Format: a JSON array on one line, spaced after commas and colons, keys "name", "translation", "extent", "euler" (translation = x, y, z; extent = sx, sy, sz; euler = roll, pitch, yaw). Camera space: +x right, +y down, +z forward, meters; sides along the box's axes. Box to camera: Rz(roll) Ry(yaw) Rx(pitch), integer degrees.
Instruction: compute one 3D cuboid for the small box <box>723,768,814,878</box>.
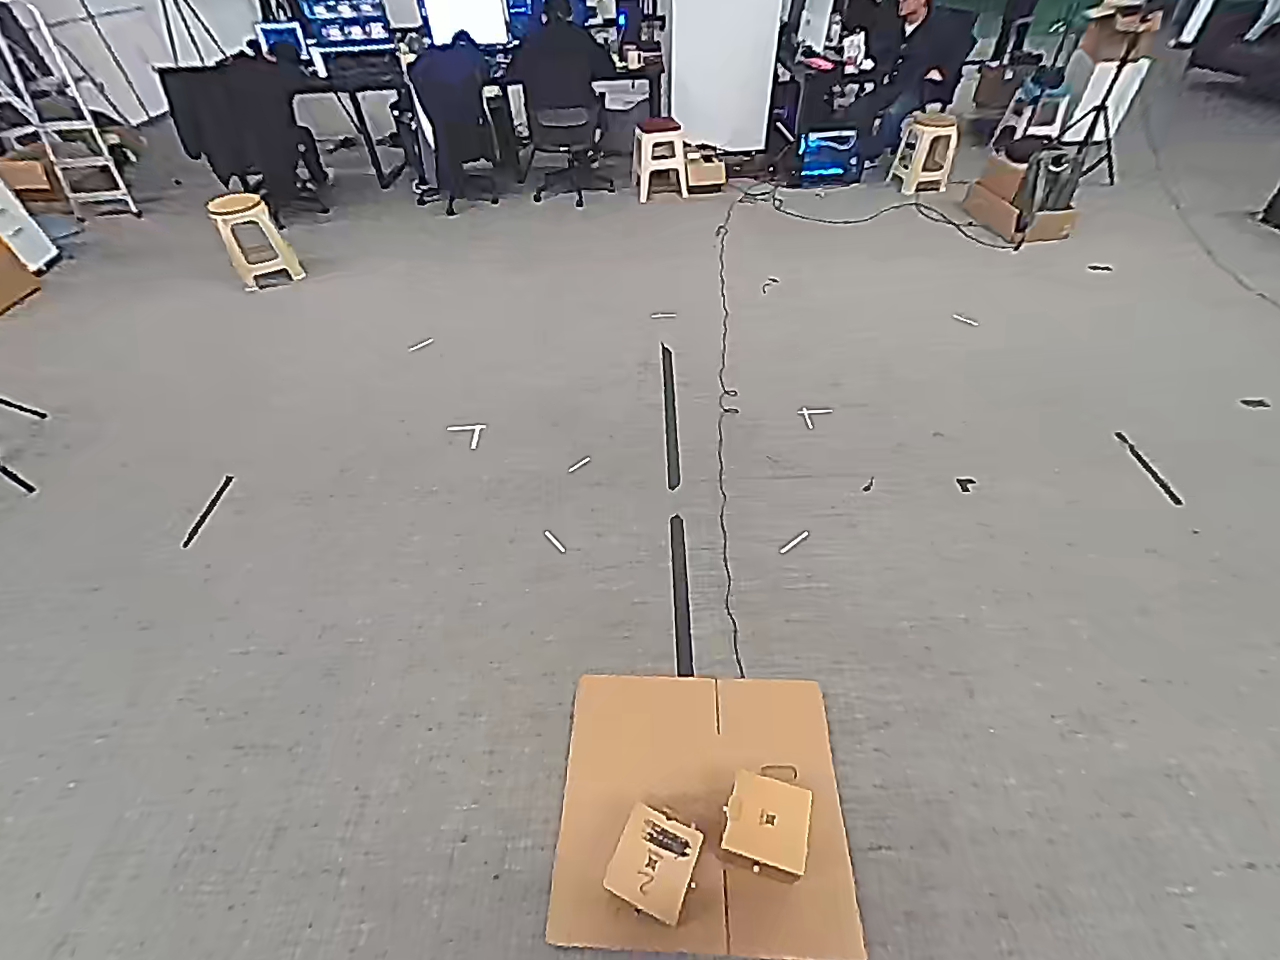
[{"name": "small box", "translation": [0.297, 0.804, 1.262], "extent": [0.179, 0.176, 0.168], "euler": [10, 50, 16]}]
